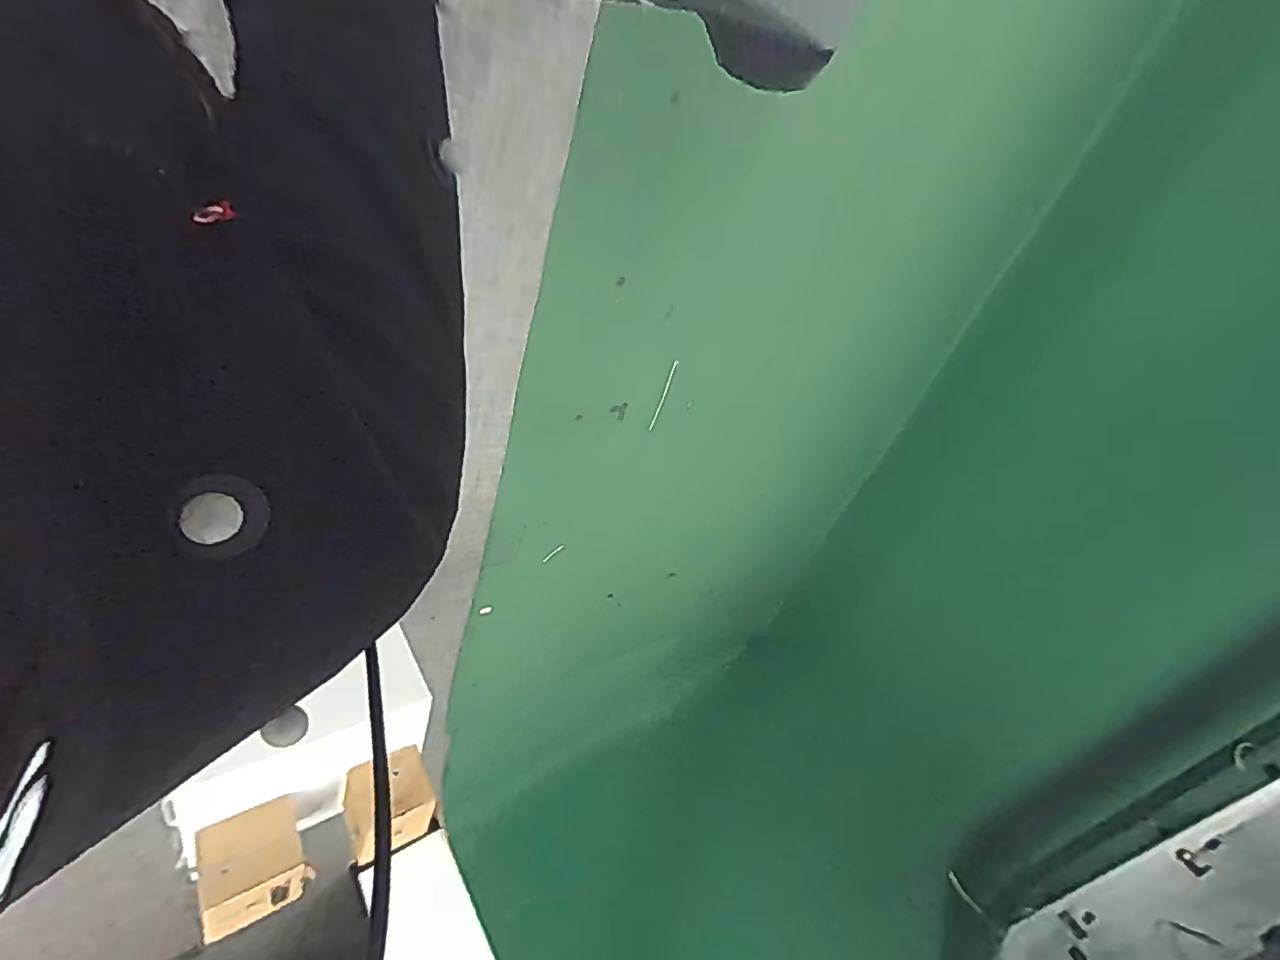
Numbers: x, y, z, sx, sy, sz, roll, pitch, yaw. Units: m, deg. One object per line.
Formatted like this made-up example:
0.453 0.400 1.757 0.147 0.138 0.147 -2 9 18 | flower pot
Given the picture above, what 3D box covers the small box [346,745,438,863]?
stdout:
-0.645 0.829 1.396 0.168 0.176 0.179 -6 129 -42 | small box
